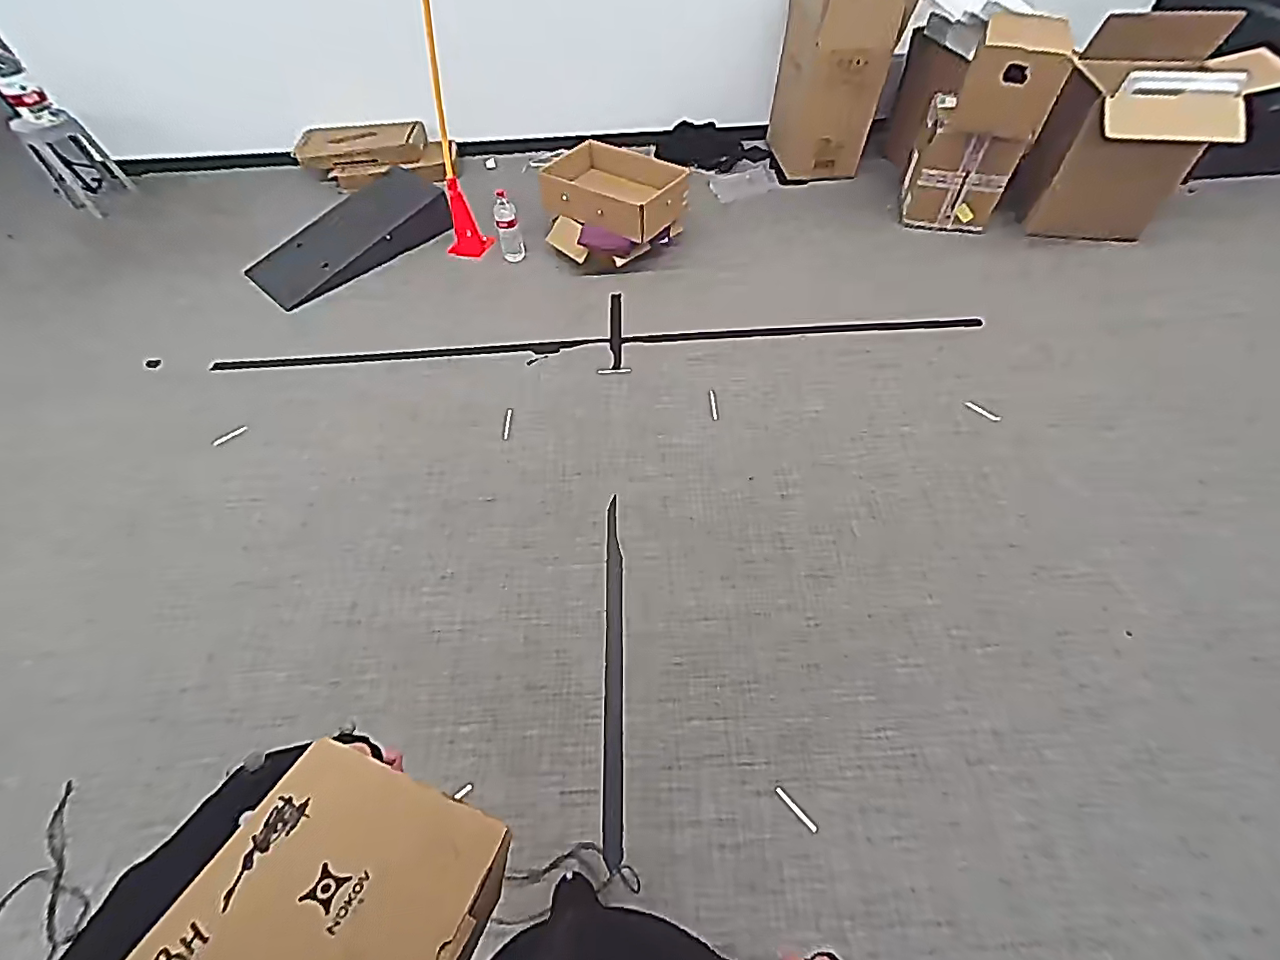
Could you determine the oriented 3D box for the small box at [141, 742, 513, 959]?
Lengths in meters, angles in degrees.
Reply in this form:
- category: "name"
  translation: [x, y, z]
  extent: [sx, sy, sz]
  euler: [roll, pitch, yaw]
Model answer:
- category: "small box"
  translation: [-0.220, 0.348, 0.417]
  extent: [0.179, 0.176, 0.168]
  euler: [21, 37, 7]
